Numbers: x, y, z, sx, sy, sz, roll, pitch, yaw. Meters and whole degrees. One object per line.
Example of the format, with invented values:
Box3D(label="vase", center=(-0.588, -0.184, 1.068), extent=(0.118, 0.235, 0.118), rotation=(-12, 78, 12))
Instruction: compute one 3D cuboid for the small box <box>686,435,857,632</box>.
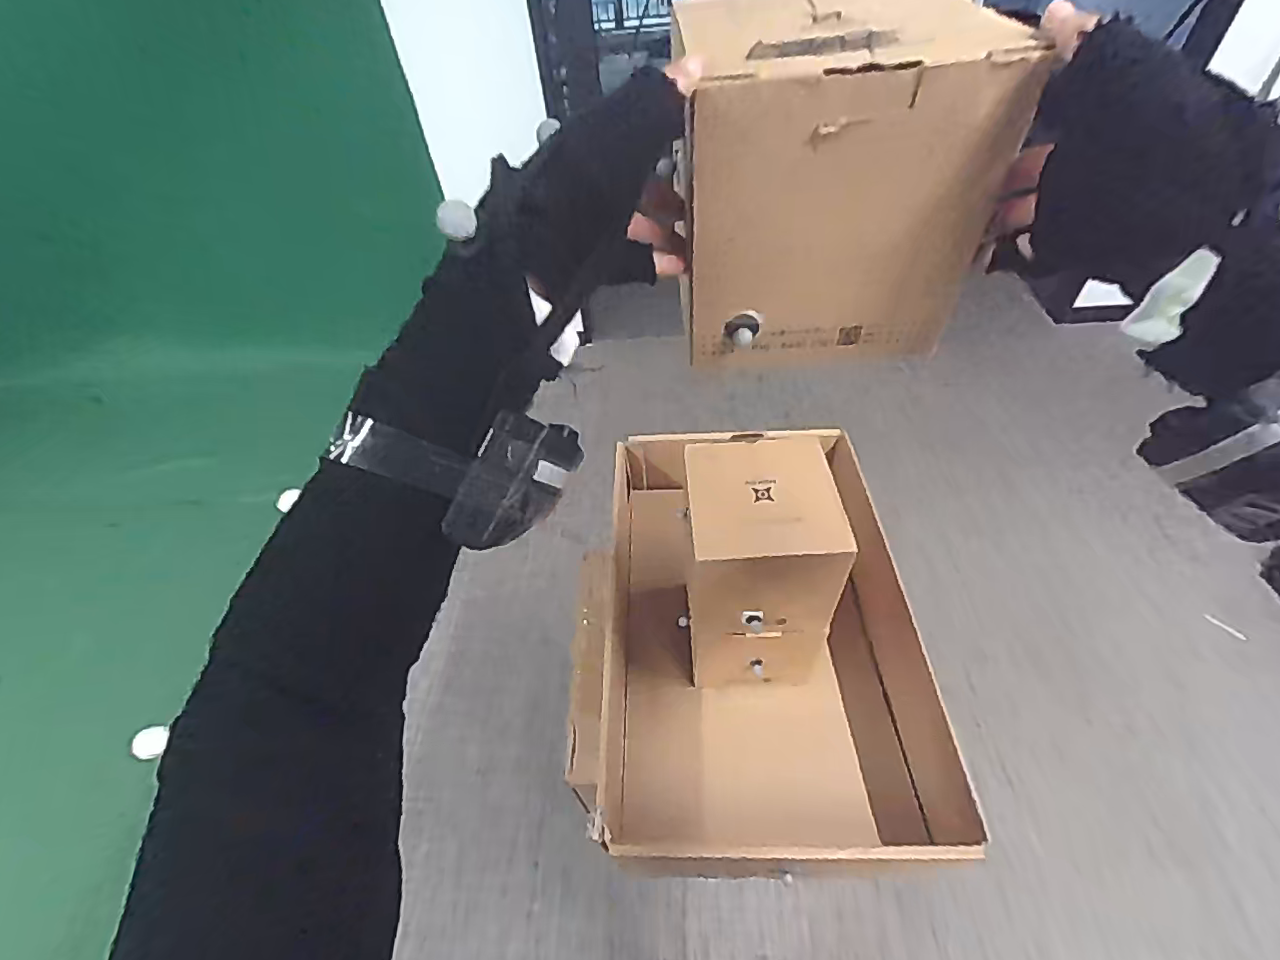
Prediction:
Box3D(label="small box", center=(0.144, 0.067, 0.666), extent=(0.168, 0.176, 0.179), rotation=(-4, 48, 2))

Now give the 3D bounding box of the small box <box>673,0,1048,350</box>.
Box3D(label="small box", center=(0.109, -0.200, 0.360), extent=(0.168, 0.176, 0.179), rotation=(-2, 50, 2))
